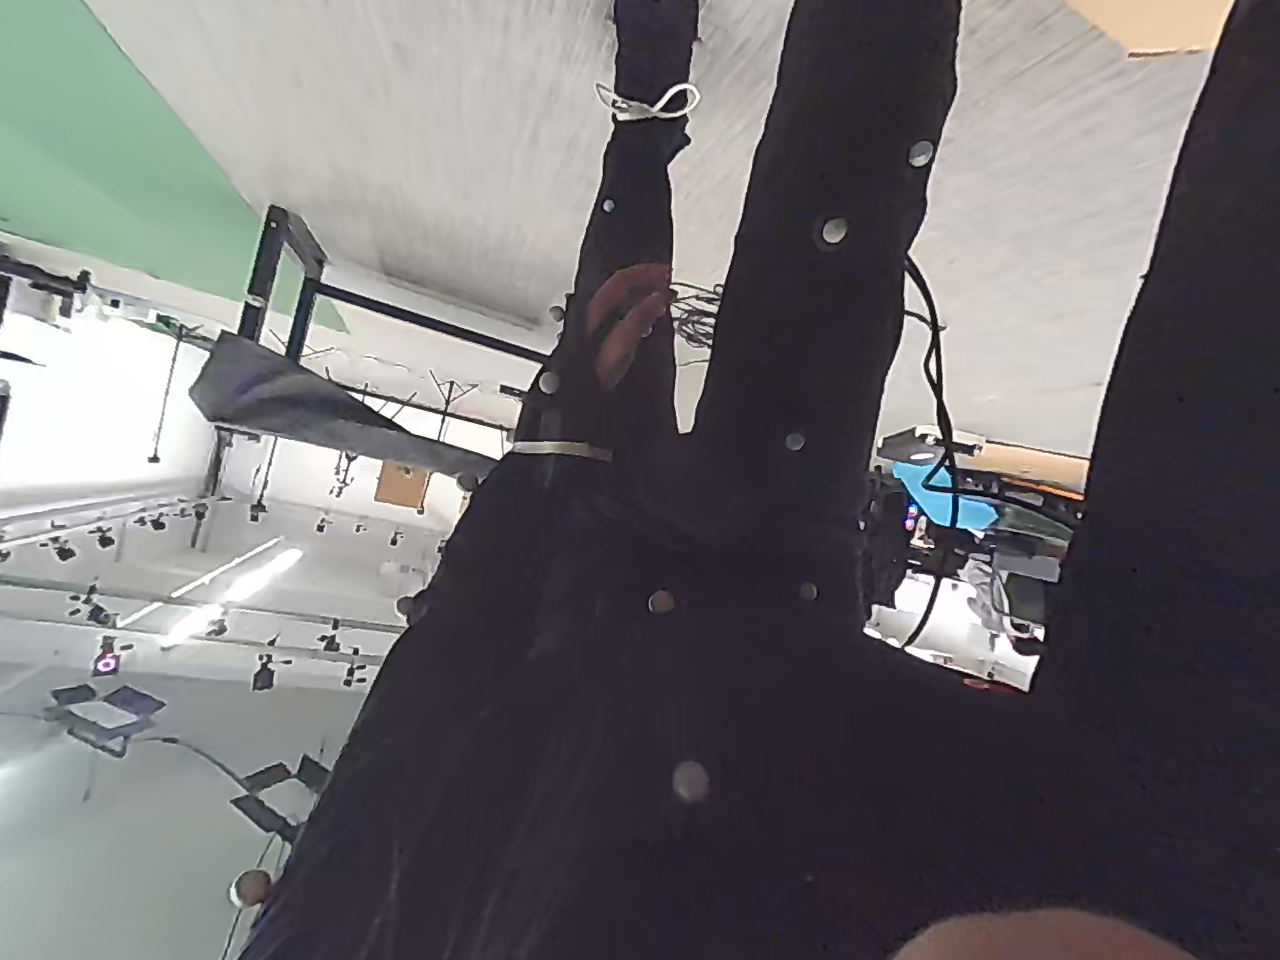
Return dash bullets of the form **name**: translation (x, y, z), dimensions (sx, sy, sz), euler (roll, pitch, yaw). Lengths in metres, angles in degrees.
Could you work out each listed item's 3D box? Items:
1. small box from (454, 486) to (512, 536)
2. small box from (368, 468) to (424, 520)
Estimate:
- **small box**: translation (-0.644, 0.123, 2.212), dimensions (0.179, 0.176, 0.168), euler (14, 178, -26)
- **small box**: translation (-0.937, 0.050, 2.085), dimensions (0.168, 0.176, 0.179), euler (13, 178, -22)
